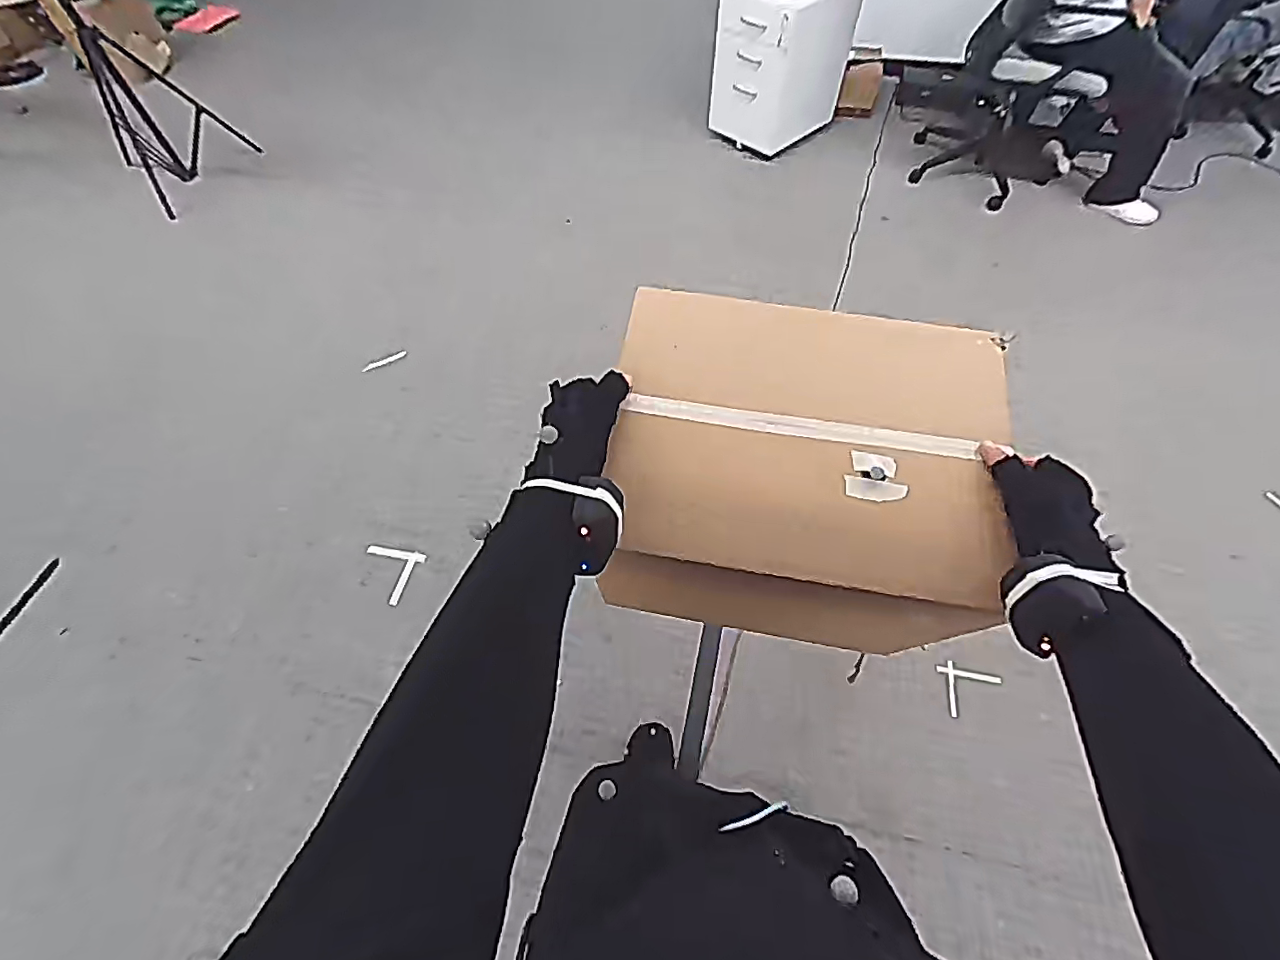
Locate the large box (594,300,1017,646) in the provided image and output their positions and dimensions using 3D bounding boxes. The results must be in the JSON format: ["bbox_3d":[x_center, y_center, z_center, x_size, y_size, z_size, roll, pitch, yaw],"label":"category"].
[{"bbox_3d":[0.175,0.010,0.701,0.408,0.320,0.320,9,67,5],"label":"large box"}]
